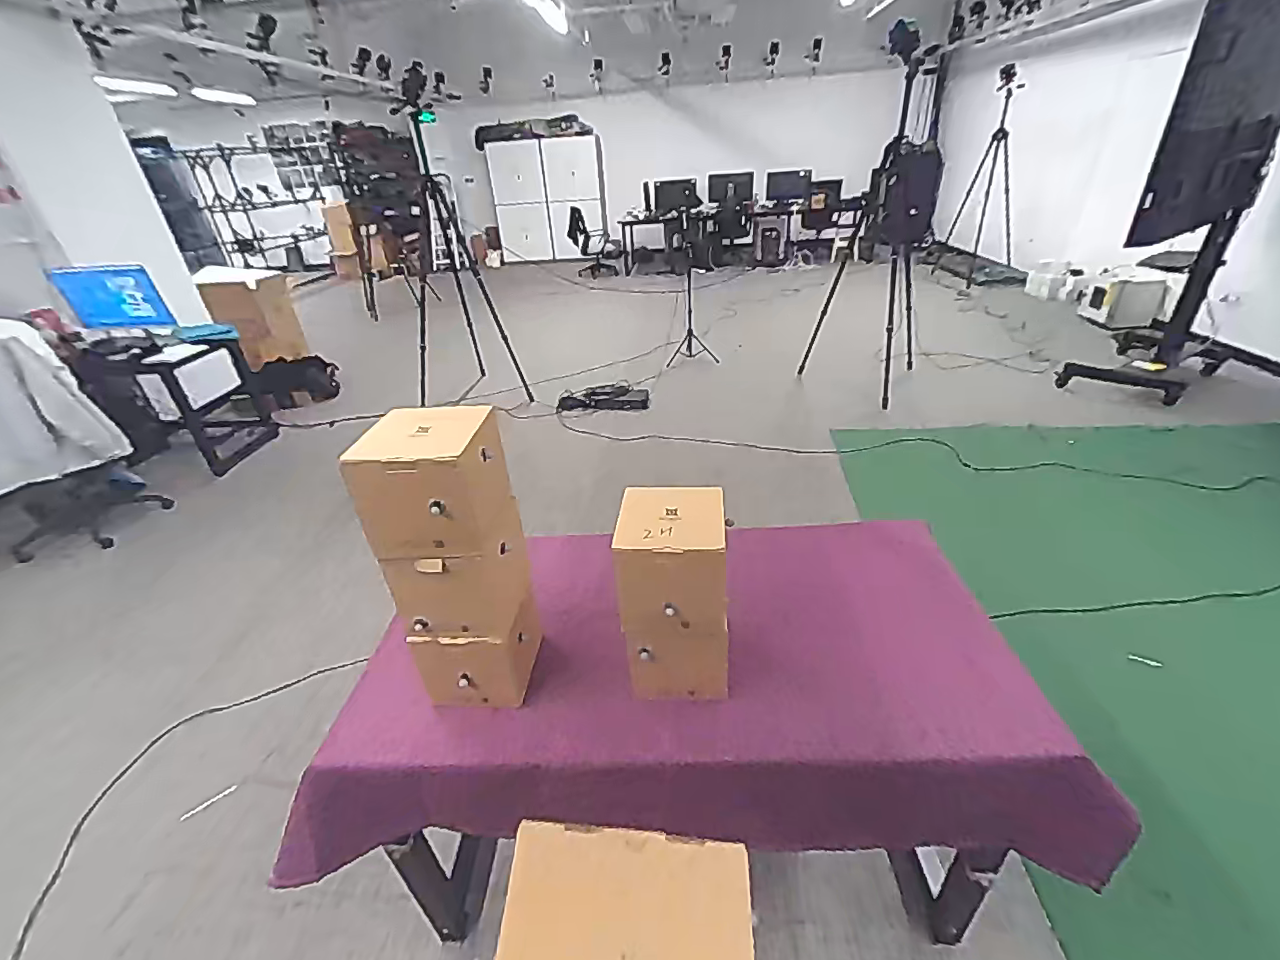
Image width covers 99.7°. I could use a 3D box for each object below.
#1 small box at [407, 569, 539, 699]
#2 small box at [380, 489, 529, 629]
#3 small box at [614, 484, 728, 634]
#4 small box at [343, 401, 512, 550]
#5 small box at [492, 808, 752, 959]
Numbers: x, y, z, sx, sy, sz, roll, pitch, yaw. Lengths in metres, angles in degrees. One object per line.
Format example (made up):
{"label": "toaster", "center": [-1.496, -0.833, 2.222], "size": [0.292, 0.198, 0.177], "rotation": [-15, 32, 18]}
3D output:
{"label": "small box", "center": [-0.289, 0.274, 0.983], "size": [0.168, 0.176, 0.179], "rotation": [1, 32, 5]}
{"label": "small box", "center": [-0.294, 0.130, 0.903], "size": [0.168, 0.176, 0.179], "rotation": [0, 31, 6]}
{"label": "small box", "center": [0.056, 0.122, 0.878], "size": [0.168, 0.176, 0.179], "rotation": [1, 32, 8]}
{"label": "small box", "center": [-0.302, -0.008, 0.815], "size": [0.168, 0.176, 0.179], "rotation": [0, 31, 4]}
{"label": "small box", "center": [-0.022, 0.362, 0.389], "size": [0.168, 0.176, 0.179], "rotation": [10, 46, -4]}
